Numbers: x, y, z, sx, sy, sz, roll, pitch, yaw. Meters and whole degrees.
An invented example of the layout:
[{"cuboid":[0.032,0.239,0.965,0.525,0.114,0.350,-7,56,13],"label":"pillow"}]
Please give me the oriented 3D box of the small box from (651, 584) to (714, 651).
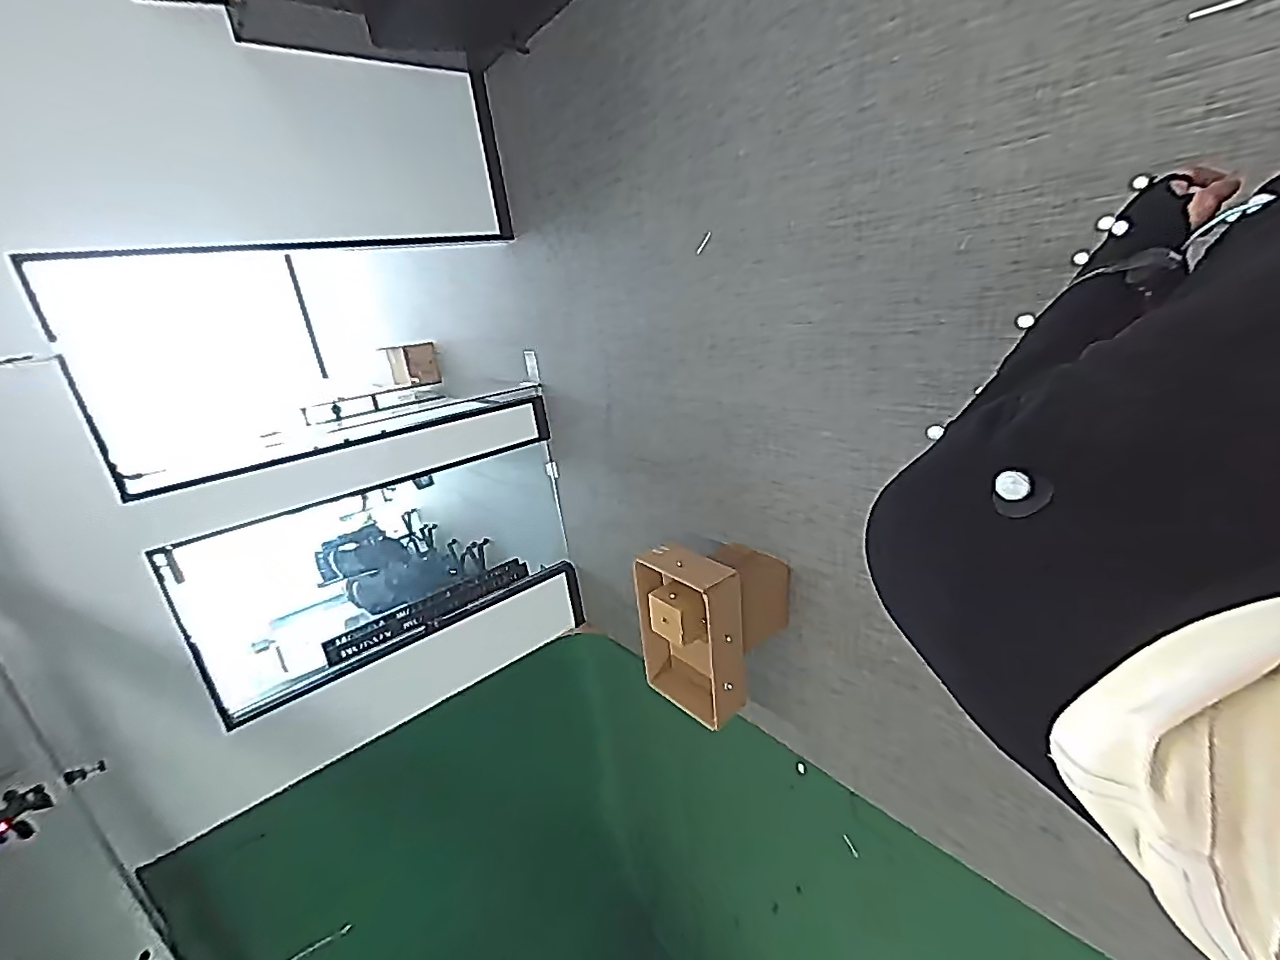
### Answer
[{"cuboid":[0.161,0.514,2.058,0.179,0.176,0.168,18,119,47],"label":"small box"}]
